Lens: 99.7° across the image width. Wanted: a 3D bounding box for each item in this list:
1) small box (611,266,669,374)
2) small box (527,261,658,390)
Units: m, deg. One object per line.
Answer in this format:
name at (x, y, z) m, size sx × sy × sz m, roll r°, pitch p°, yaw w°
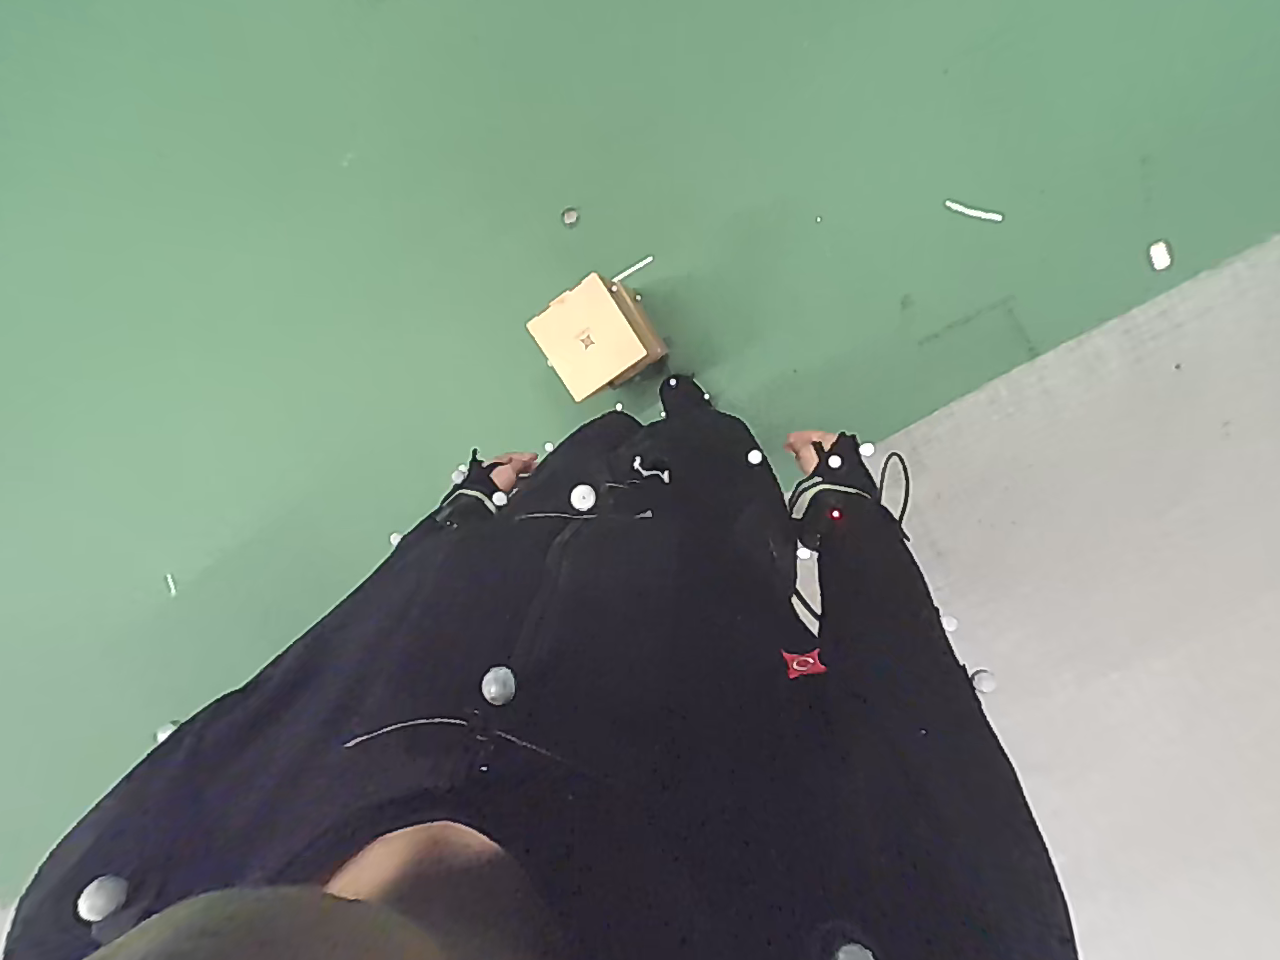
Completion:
small box at (-0.051, -0.349, 1.213) m, size 0.168 × 0.176 × 0.179 m, roll -31°, pitch 98°, yaw 16°
small box at (-0.082, -0.300, 1.061) m, size 0.168 × 0.176 × 0.179 m, roll -32°, pitch 96°, yaw 16°
